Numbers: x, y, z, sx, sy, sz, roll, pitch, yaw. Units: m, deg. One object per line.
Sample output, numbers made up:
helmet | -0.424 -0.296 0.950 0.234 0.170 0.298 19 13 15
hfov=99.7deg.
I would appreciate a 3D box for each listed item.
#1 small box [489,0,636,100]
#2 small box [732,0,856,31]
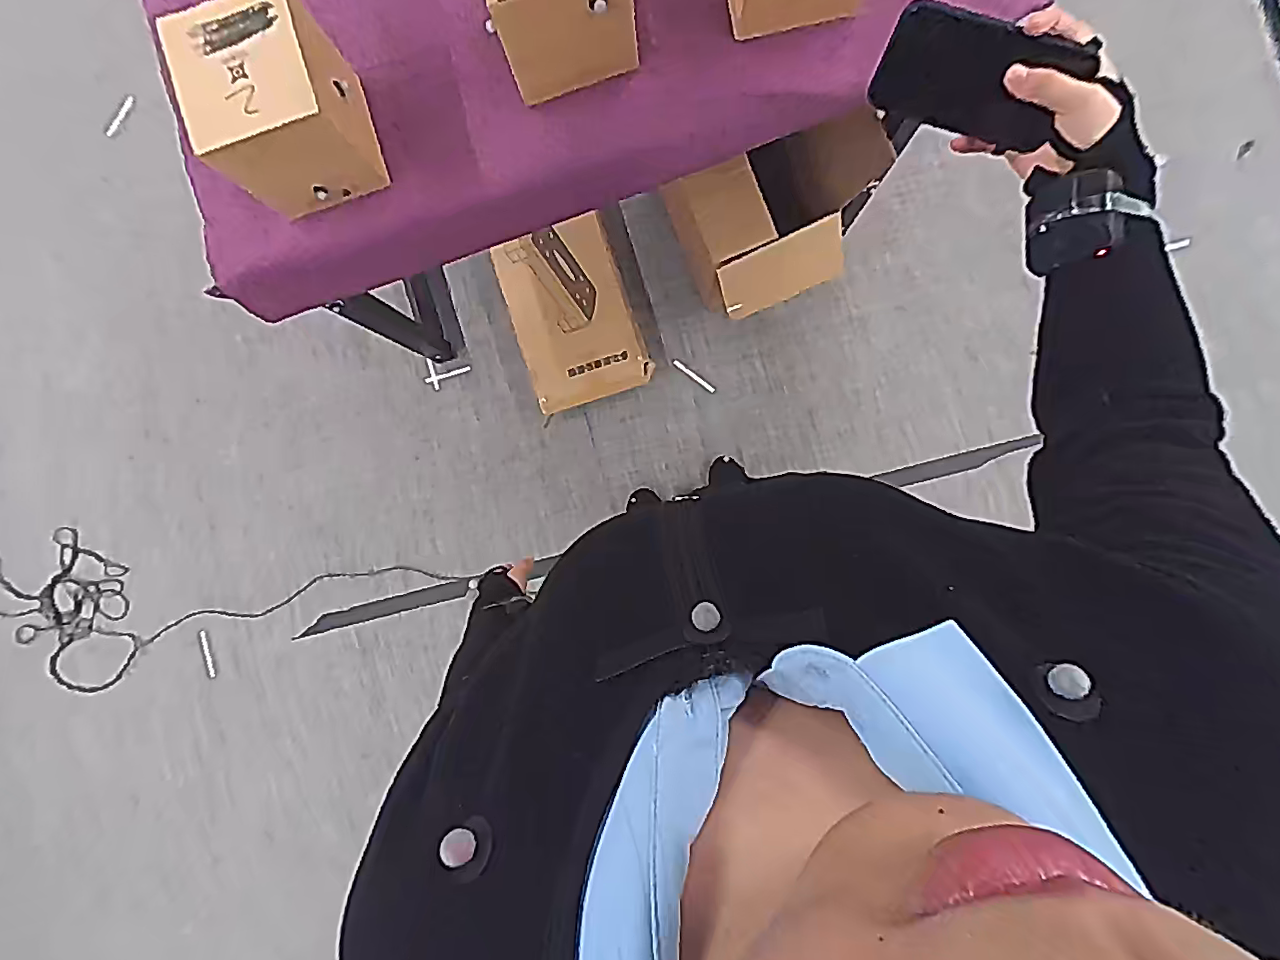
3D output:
small box | -0.108 -0.646 0.697 0.179 0.176 0.168 -18 87 3
small box | 0.202 -0.719 0.680 0.179 0.176 0.168 -11 90 3
